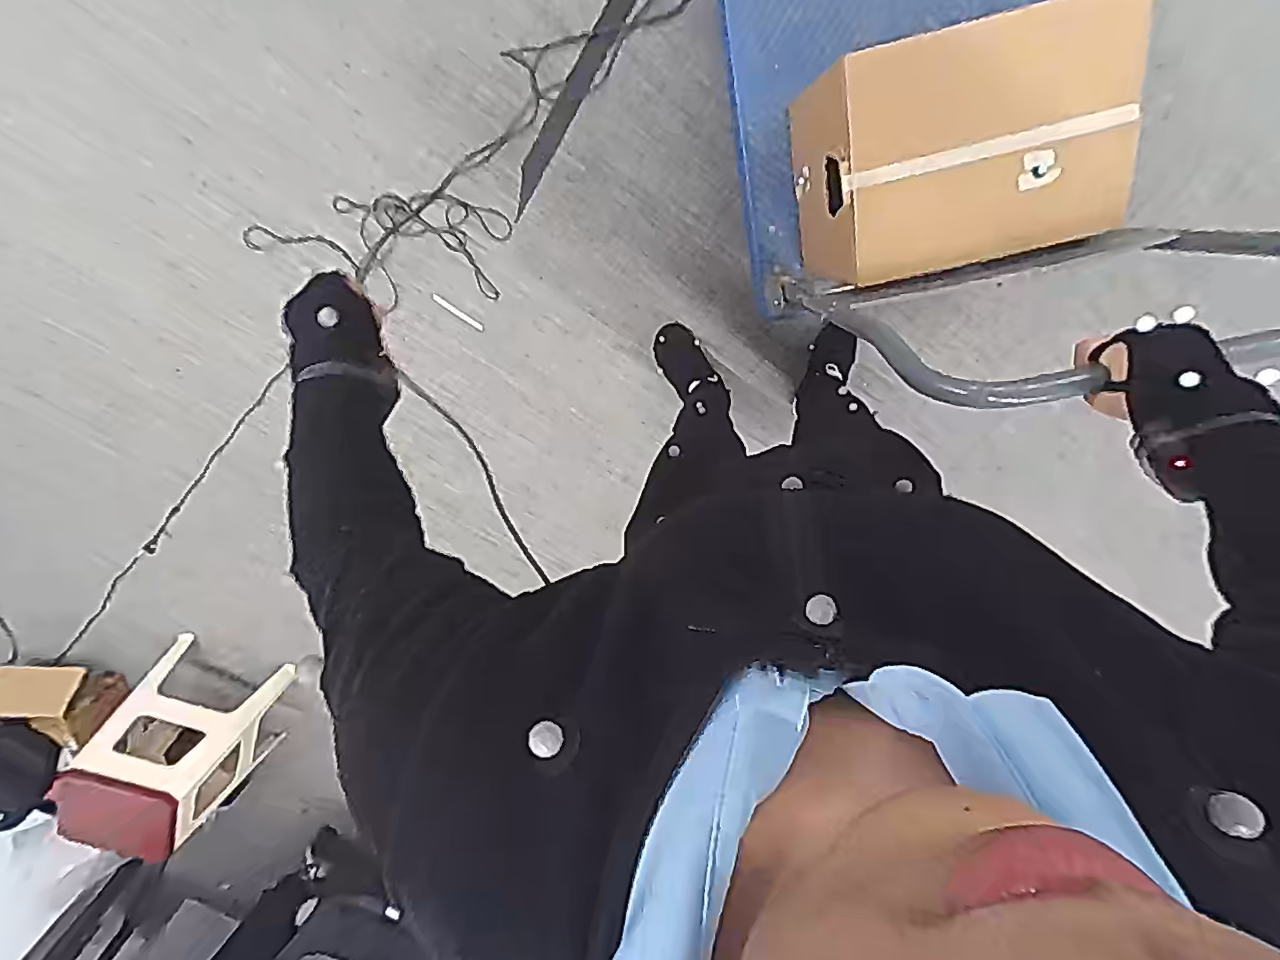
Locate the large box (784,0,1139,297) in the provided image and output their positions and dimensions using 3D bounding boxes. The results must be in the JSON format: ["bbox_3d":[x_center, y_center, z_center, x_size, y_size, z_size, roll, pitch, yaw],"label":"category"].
[{"bbox_3d":[0.497,-0.527,0.921,0.408,0.320,0.320,-12,114,5],"label":"large box"}]
